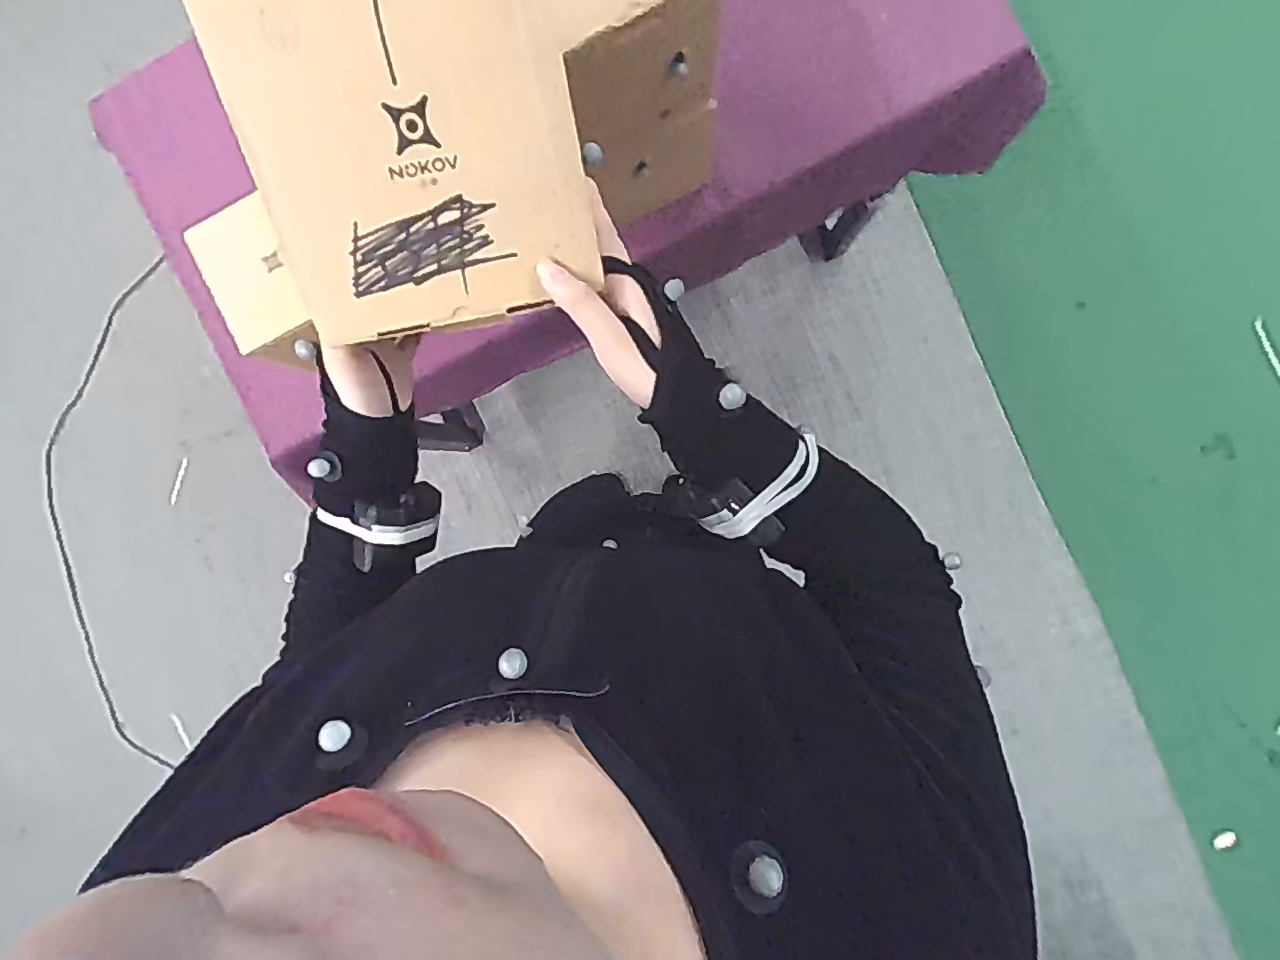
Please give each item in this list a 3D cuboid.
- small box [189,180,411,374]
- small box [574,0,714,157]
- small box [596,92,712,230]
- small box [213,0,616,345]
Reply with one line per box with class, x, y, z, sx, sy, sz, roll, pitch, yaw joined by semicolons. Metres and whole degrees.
small box;-0.418;-0.257;0.712;0.179;0.176;0.168;-27;90;3
small box;-0.035;-0.450;0.517;0.168;0.176;0.179;-27;89;3
small box;-0.023;-0.449;0.680;0.179;0.176;0.168;-25;90;4
small box;-0.112;-0.201;0.351;0.168;0.176;0.179;-11;113;-2
